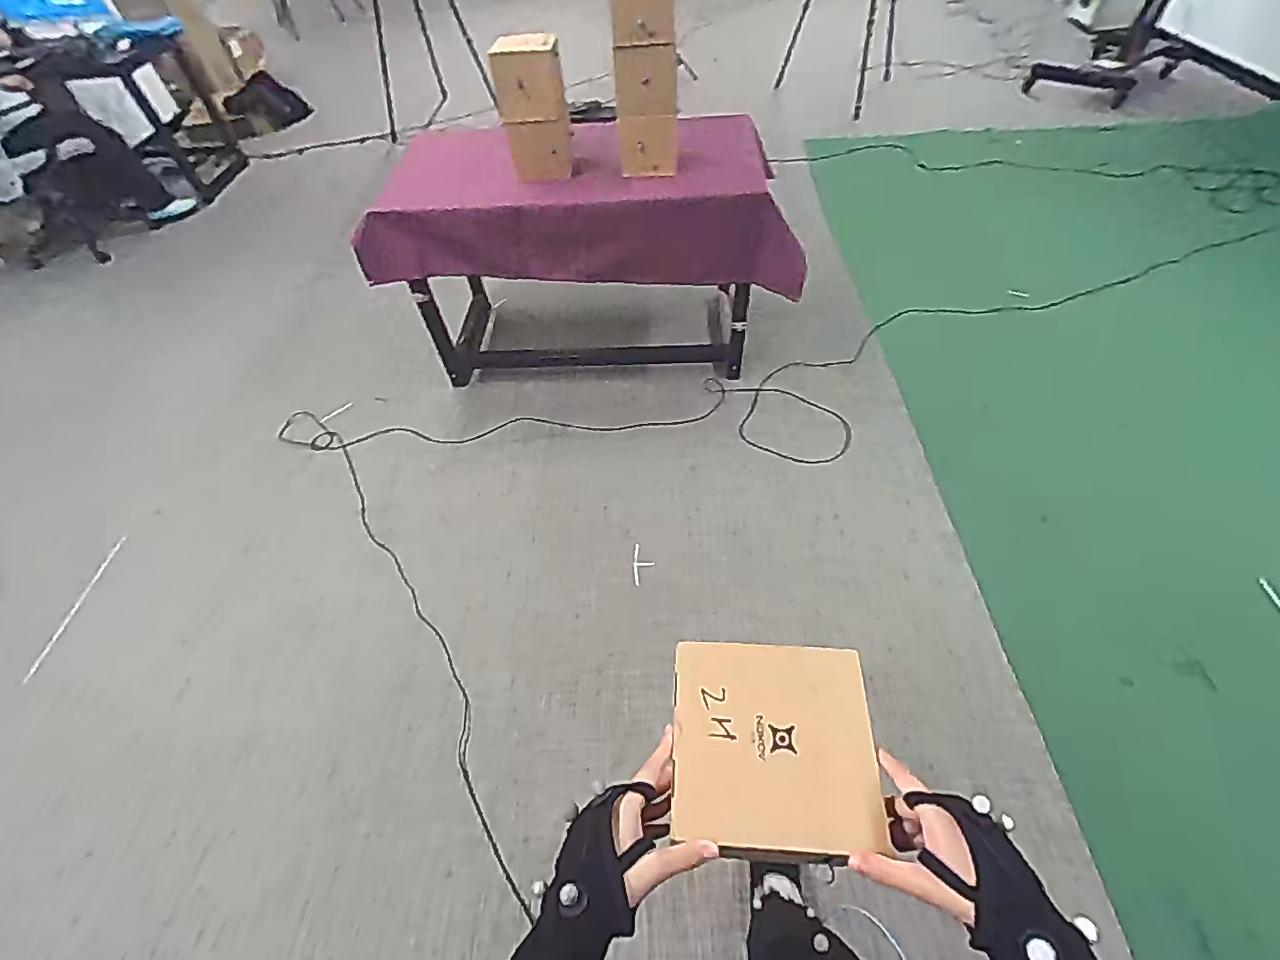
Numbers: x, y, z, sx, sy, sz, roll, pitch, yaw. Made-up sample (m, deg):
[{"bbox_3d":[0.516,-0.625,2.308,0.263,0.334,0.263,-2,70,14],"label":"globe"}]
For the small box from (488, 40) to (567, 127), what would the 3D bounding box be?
[{"bbox_3d":[-0.321,-1.151,1.576,0.179,0.176,0.168,-1,51,4],"label":"small box"}]

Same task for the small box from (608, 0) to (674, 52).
[{"bbox_3d":[0.005,-1.255,1.423,0.168,0.176,0.179,-1,52,5],"label":"small box"}]

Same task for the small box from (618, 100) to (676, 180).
[{"bbox_3d":[0.028,-1.053,1.682,0.168,0.176,0.179,0,51,5],"label":"small box"}]

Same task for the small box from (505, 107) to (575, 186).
[{"bbox_3d":[-0.306,-1.051,1.706,0.179,0.176,0.168,-1,51,4],"label":"small box"}]
